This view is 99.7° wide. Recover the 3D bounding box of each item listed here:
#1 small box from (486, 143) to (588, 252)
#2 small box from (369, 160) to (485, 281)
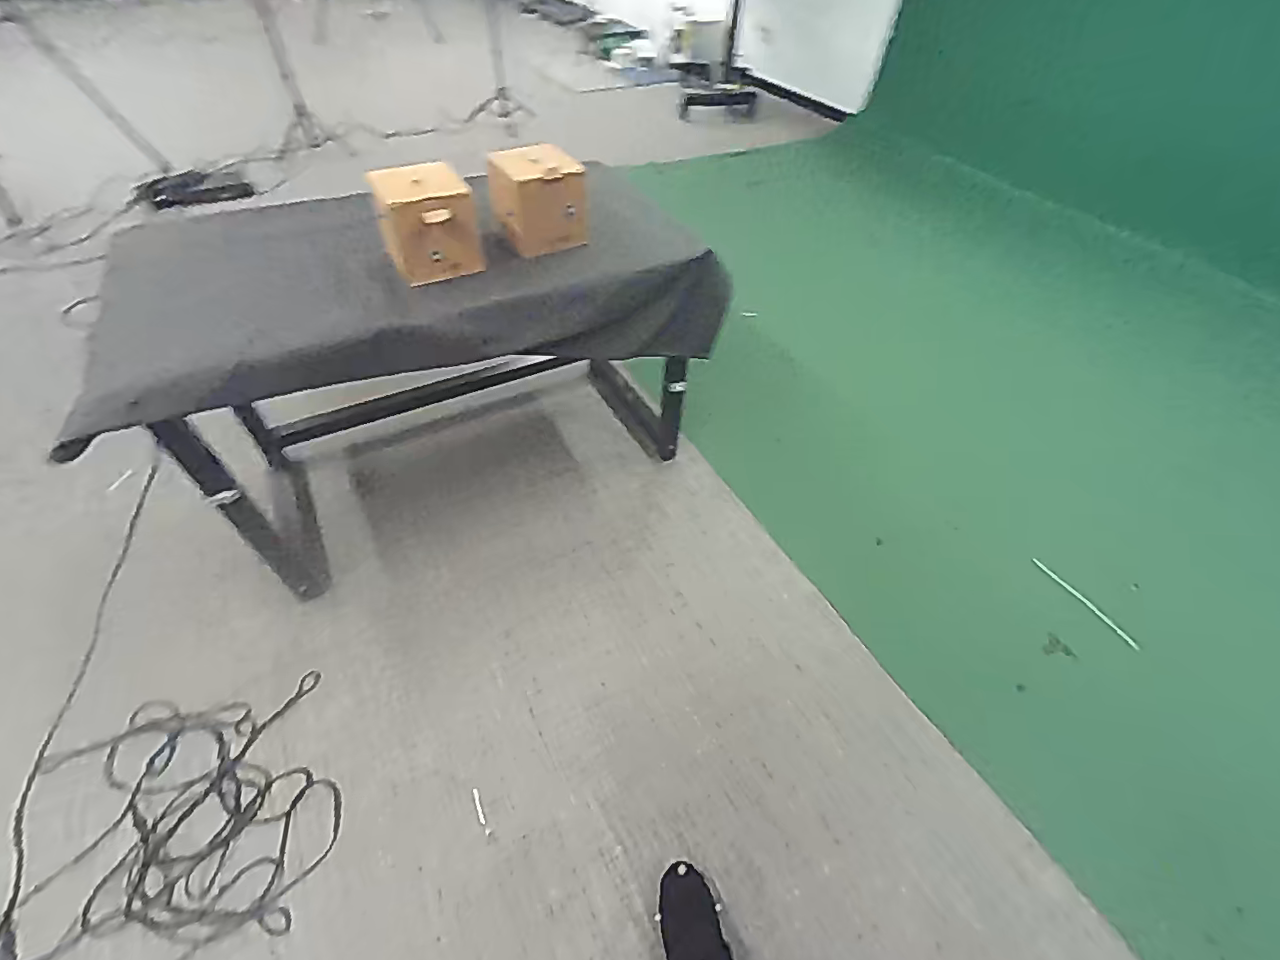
[{"bbox_3d":[-0.227,-0.635,1.224,0.168,0.176,0.179,-24,53,-24],"label":"small box"},{"bbox_3d":[-0.439,-0.541,1.128,0.168,0.176,0.179,-22,54,-22],"label":"small box"}]
